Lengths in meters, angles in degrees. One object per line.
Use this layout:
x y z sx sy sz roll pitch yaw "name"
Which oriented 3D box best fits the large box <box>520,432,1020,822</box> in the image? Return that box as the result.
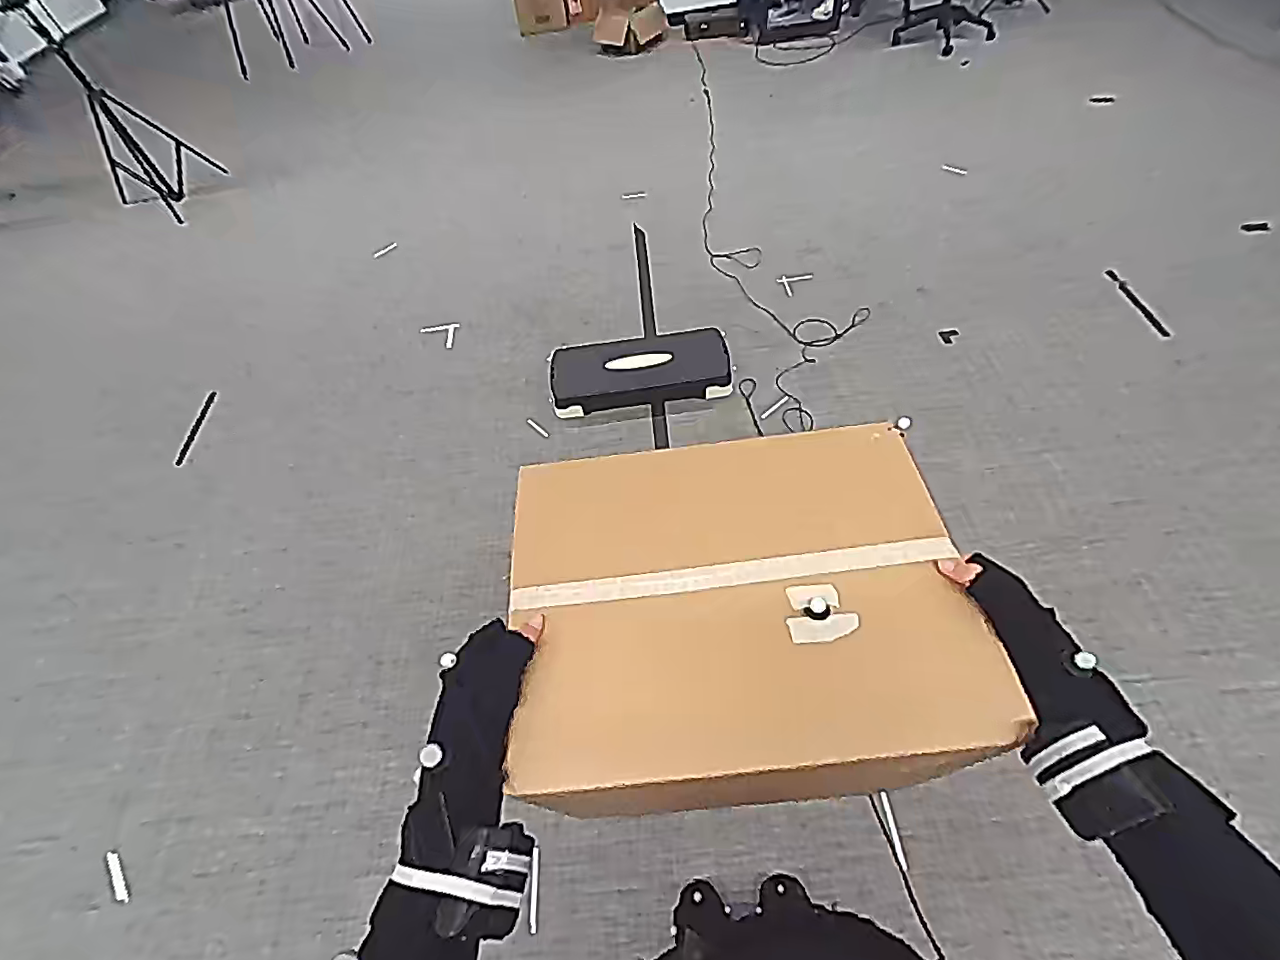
0.099 0.182 0.627 0.408 0.320 0.320 -7 54 2 "large box"
